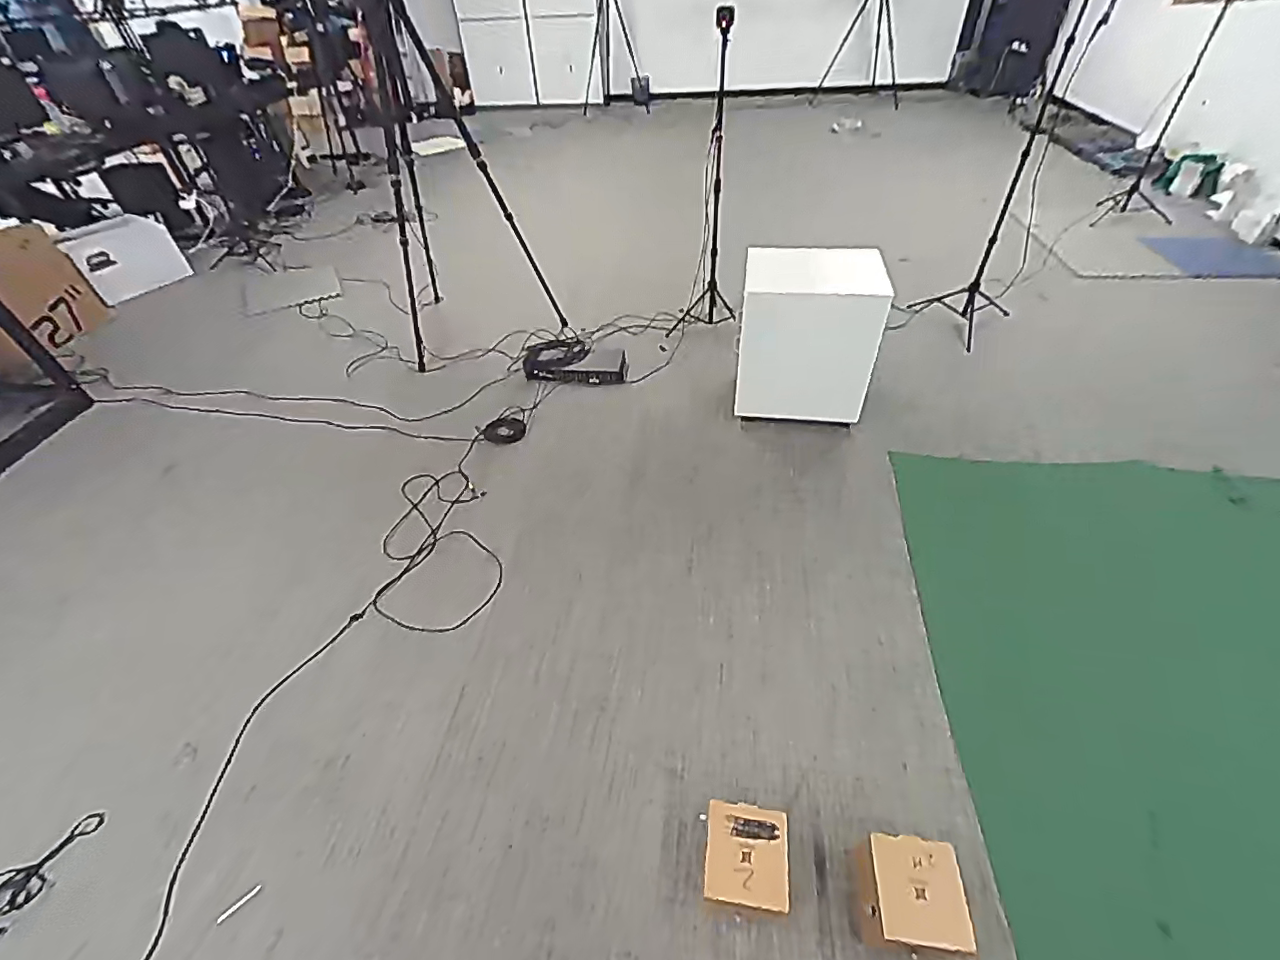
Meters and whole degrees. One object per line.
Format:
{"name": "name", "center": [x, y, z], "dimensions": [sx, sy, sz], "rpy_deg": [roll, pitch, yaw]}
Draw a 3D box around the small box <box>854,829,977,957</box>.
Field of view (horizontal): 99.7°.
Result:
{"name": "small box", "center": [0.548, 0.845, 1.103], "dimensions": [0.168, 0.176, 0.179], "rpy_deg": [4, 45, 7]}
